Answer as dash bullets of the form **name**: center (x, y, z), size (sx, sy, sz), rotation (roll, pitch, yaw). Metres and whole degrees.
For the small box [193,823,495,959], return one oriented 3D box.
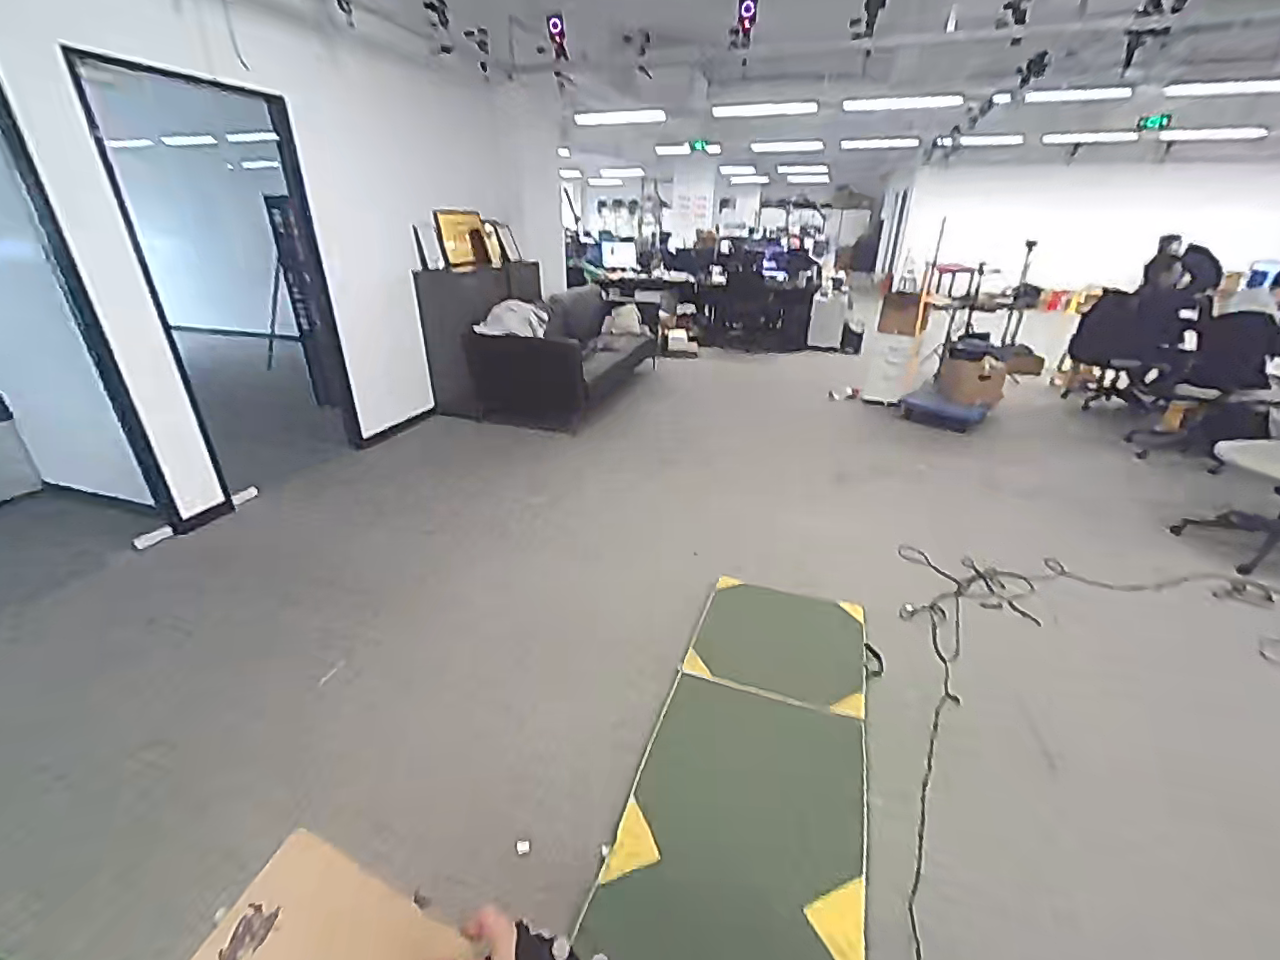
- **small box**: center (-0.228, 0.396, 0.403), size (0.179, 0.176, 0.168), rotation (28, 48, 8)
